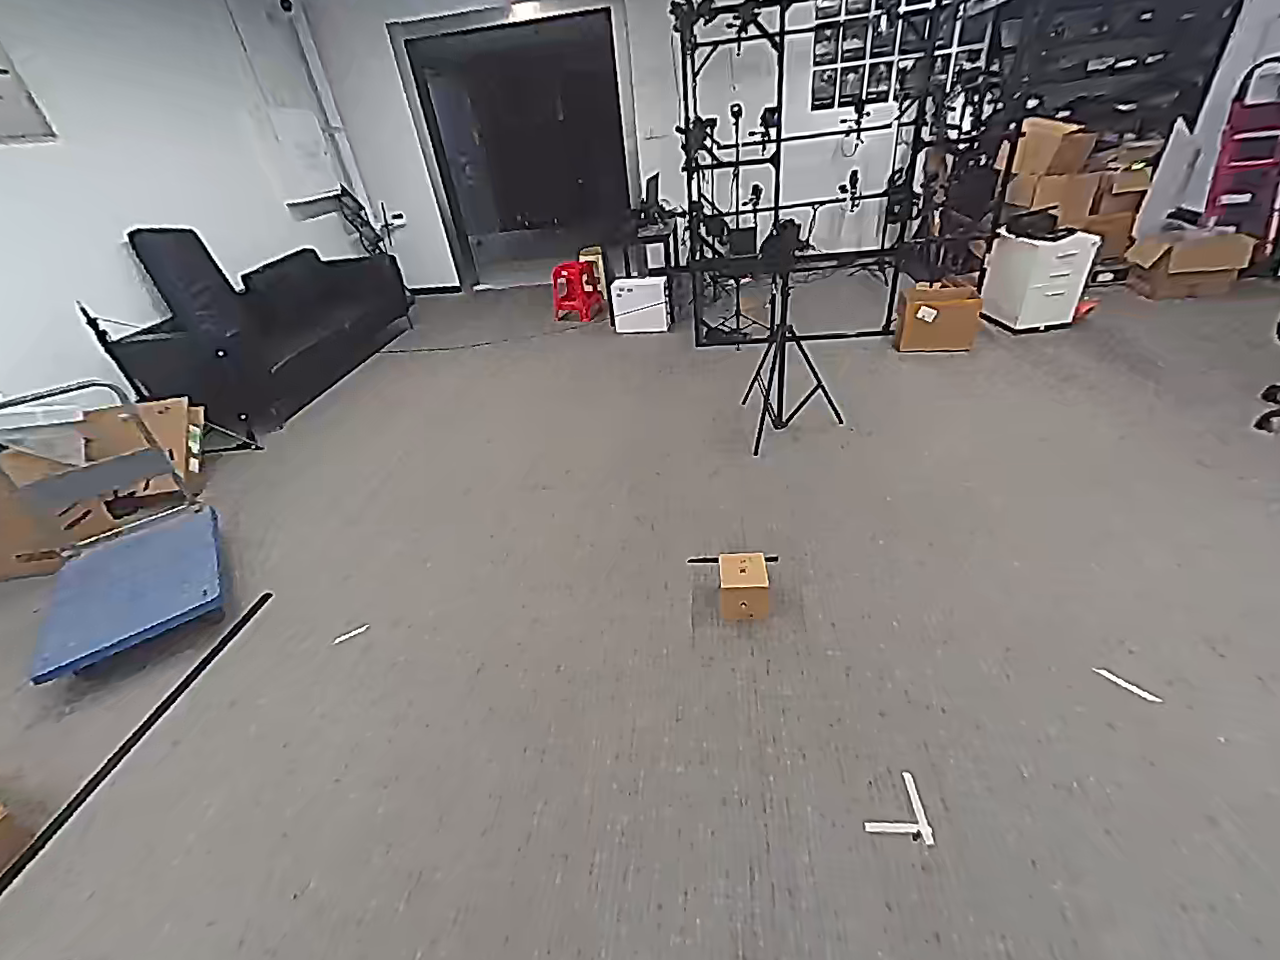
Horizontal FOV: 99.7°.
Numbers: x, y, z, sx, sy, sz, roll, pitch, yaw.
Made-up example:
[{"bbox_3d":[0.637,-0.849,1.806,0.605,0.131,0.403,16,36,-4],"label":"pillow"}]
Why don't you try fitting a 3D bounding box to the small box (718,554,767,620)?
[{"bbox_3d":[0.374,0.394,1.973,0.168,0.176,0.179,-3,33,7],"label":"small box"}]
